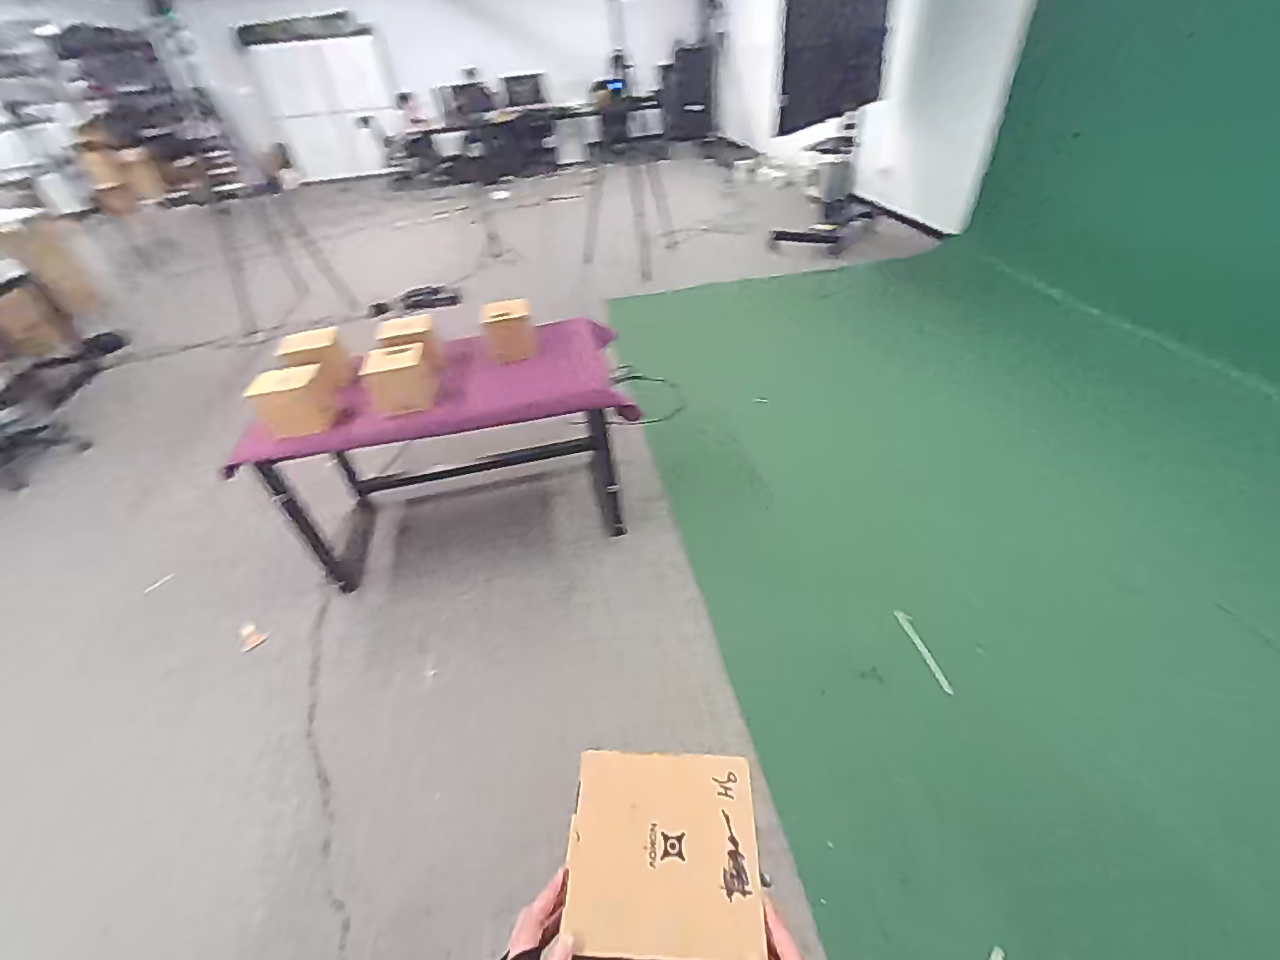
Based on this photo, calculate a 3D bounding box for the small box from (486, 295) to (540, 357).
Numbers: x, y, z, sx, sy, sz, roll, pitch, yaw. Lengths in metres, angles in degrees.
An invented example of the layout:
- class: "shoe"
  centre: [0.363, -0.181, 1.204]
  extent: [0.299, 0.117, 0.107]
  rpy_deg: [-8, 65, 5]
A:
- class: "small box"
  centre: [-0.477, -0.577, 2.043]
  extent: [0.168, 0.176, 0.179]
  rpy_deg: [-11, 40, -5]

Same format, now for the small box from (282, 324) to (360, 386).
- class: "small box"
  centre: [-1.158, -0.445, 1.976]
  extent: [0.179, 0.176, 0.168]
  rpy_deg: [-13, 41, -8]

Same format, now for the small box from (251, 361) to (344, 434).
- class: "small box"
  centre: [-1.103, -0.264, 1.756]
  extent: [0.179, 0.176, 0.168]
  rpy_deg: [-10, 39, -5]

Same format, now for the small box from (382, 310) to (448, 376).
- class: "small box"
  centre: [-0.828, -0.509, 2.011]
  extent: [0.179, 0.176, 0.168]
  rpy_deg: [-12, 40, -6]
